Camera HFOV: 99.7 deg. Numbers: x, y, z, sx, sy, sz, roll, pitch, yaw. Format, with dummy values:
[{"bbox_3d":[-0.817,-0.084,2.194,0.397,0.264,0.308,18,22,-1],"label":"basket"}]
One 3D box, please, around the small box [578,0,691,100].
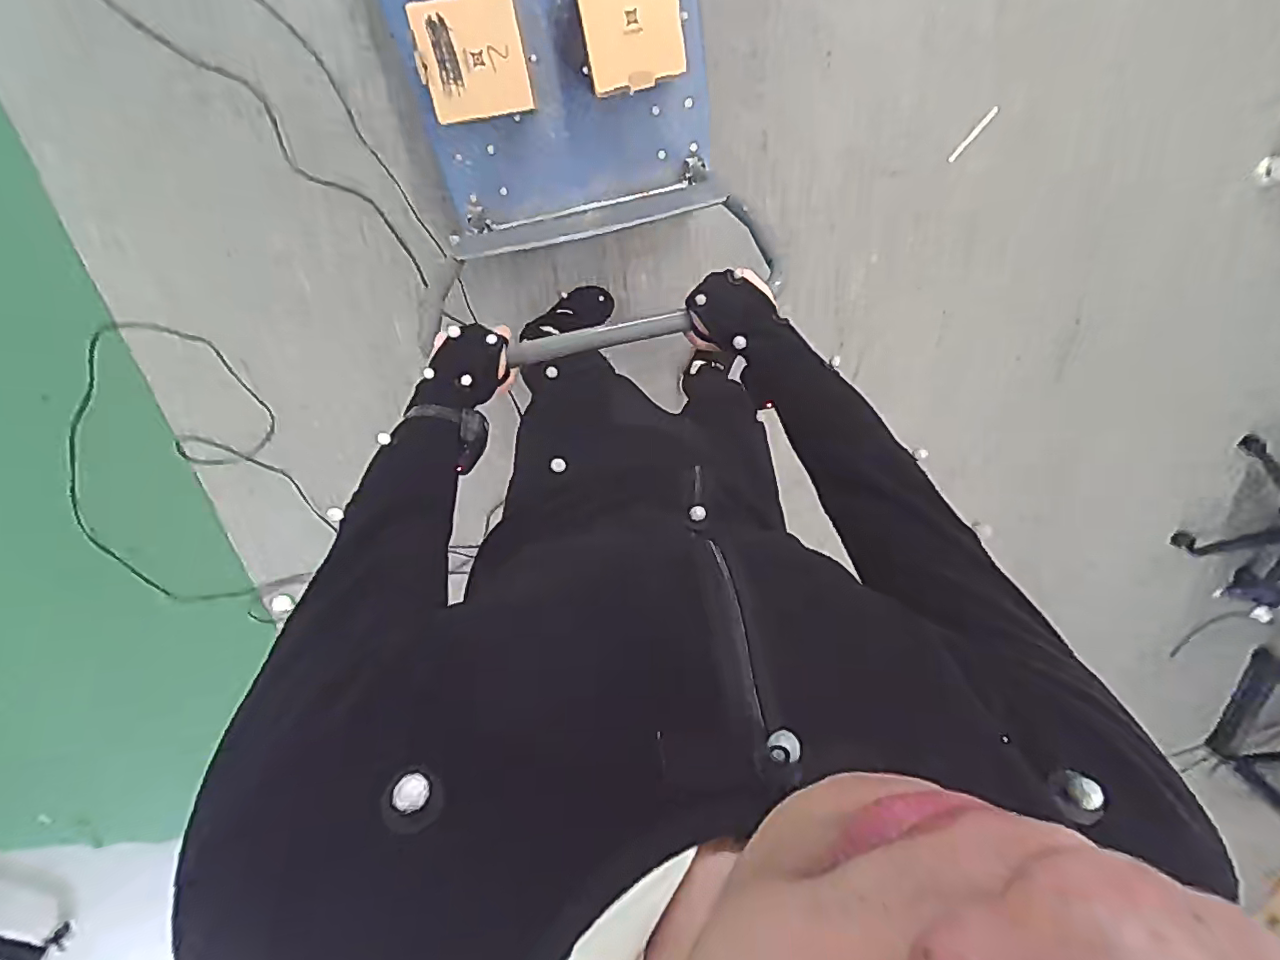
[{"bbox_3d":[-0.014,-0.805,0.971,0.168,0.176,0.179,-13,125,3],"label":"small box"}]
